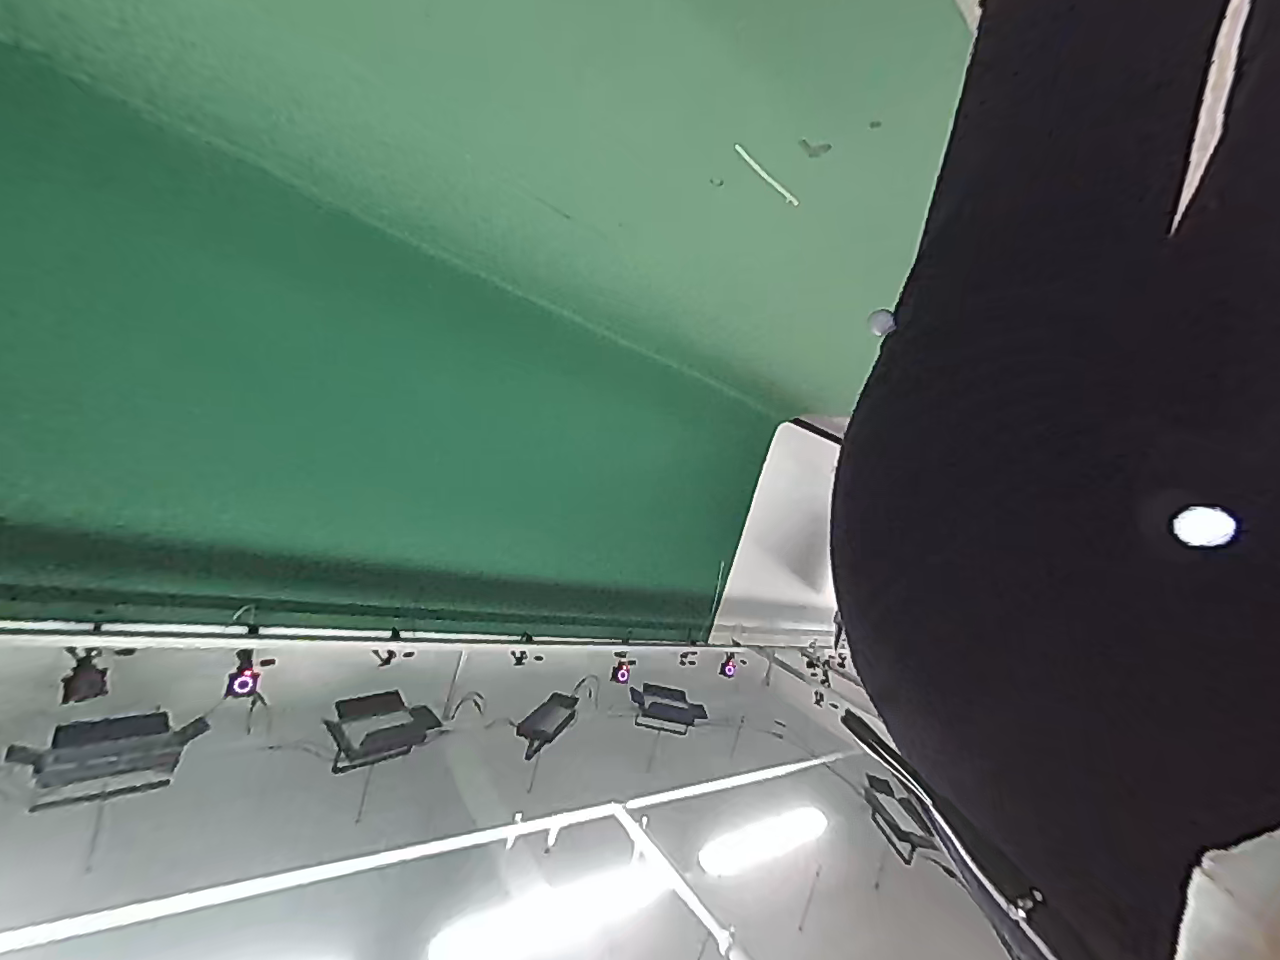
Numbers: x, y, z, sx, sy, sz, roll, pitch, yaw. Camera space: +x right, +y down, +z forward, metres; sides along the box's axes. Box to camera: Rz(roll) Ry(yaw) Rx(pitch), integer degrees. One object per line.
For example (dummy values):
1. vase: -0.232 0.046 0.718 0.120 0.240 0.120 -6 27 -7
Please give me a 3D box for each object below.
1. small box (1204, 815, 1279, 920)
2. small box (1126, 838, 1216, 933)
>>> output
1. small box: 1.768 1.105 1.544 0.168 0.176 0.179 15 -176 -38
2. small box: 1.649 1.234 1.672 0.179 0.176 0.168 15 -177 -37
